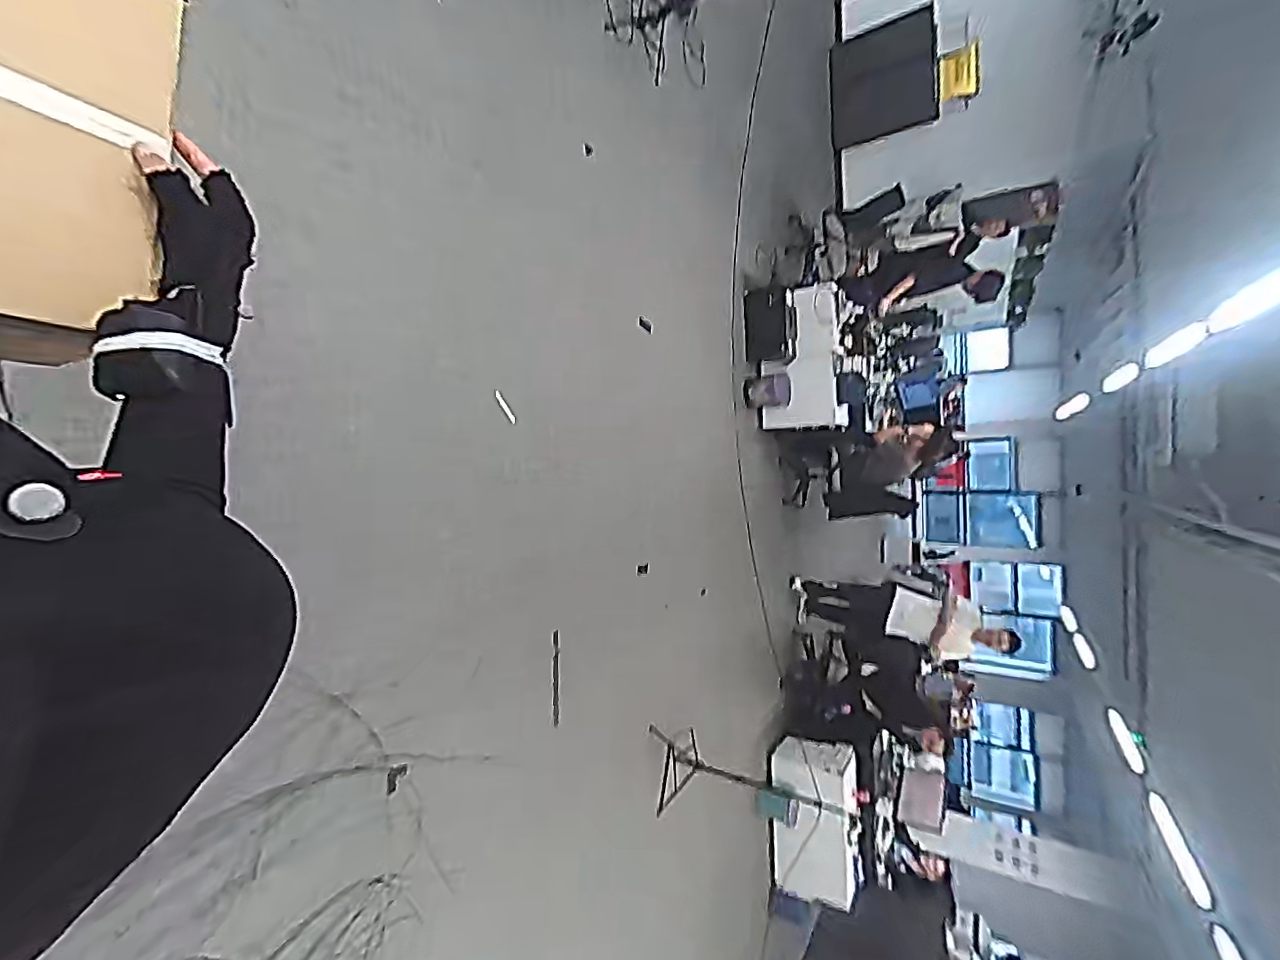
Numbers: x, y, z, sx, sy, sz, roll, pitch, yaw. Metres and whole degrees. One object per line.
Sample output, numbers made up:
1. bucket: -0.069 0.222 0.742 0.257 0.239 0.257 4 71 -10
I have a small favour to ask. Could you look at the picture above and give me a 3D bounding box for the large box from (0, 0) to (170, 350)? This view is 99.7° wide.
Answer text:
1. large box: -0.633 -0.290 0.362 0.408 0.320 0.320 3 92 -59
